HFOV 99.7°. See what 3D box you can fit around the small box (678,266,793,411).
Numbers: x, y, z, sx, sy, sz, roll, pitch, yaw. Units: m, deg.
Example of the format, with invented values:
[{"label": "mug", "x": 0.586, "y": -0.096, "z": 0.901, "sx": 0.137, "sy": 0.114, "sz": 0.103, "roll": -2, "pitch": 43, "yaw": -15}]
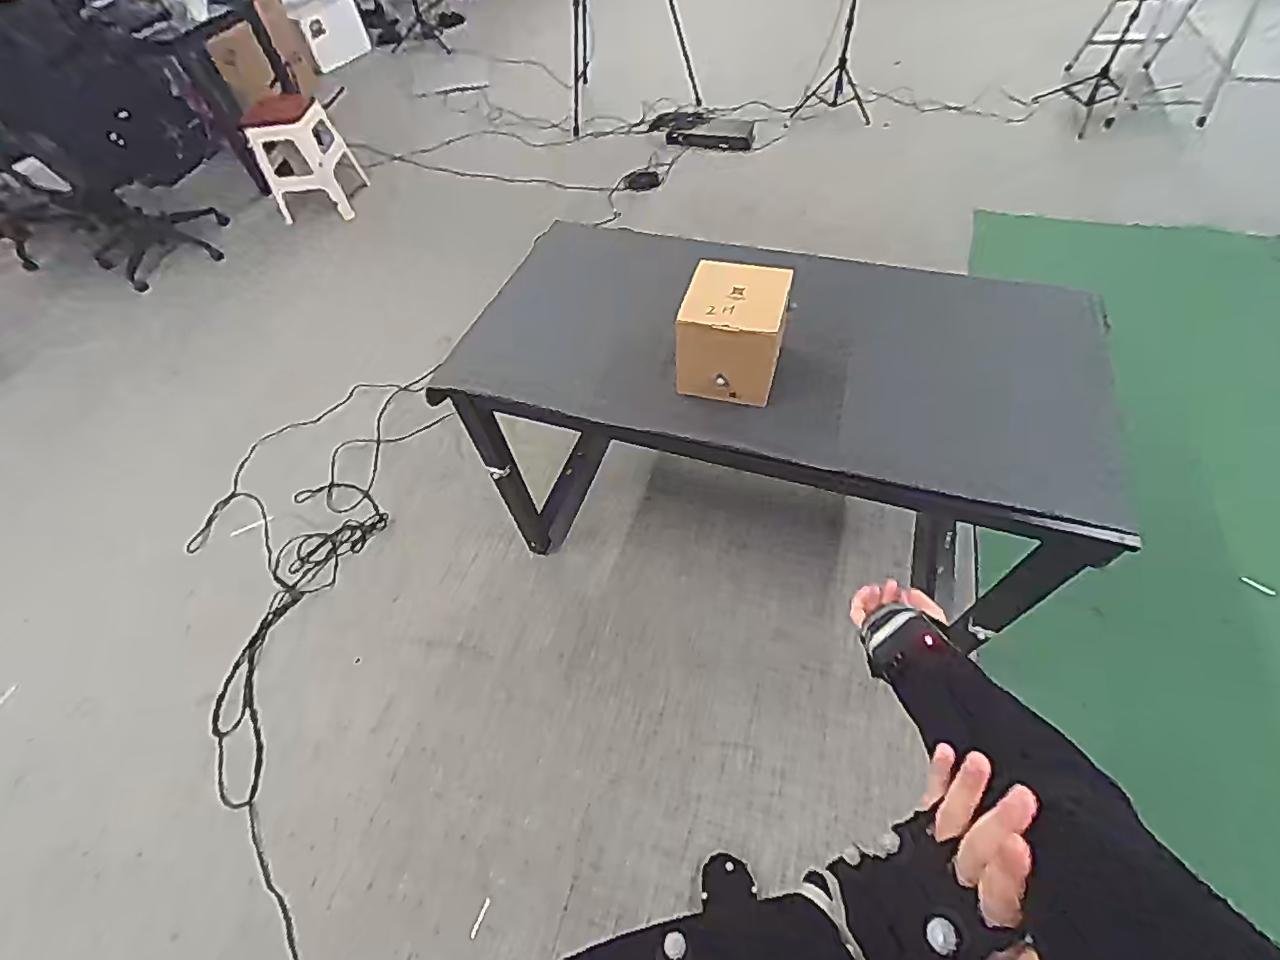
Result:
[{"label": "small box", "x": 0.167, "y": -0.252, "z": 0.969, "sx": 0.168, "sy": 0.176, "sz": 0.179, "roll": 12, "pitch": 56, "yaw": 14}]
